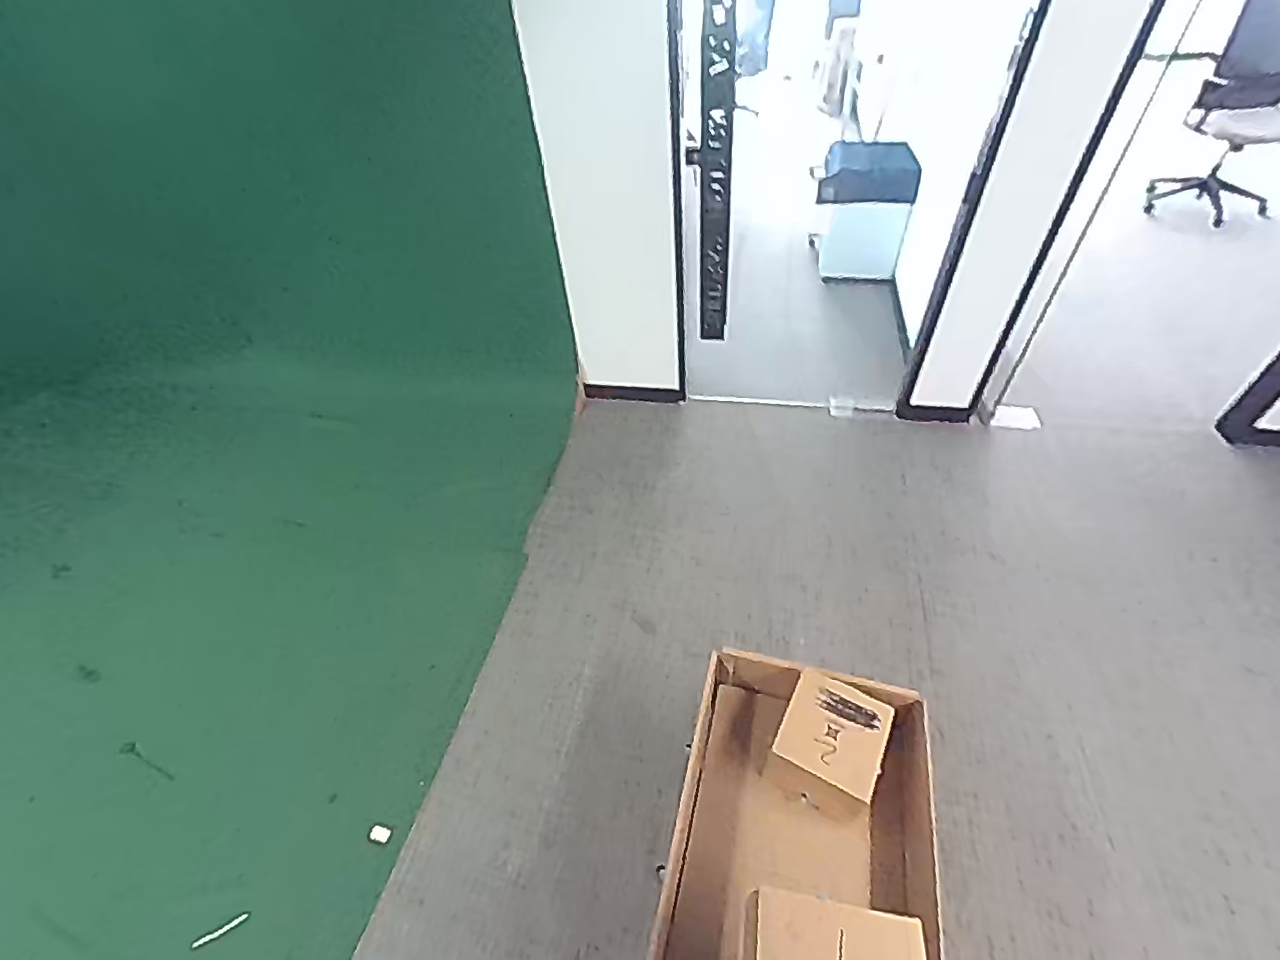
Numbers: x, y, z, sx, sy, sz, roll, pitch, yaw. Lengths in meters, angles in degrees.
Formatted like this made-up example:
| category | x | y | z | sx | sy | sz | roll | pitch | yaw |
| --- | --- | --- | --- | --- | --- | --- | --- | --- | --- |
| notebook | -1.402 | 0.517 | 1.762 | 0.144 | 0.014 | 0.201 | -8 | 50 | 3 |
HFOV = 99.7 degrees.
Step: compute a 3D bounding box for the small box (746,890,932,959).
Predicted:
| category | x | y | z | sx | sy | sz | roll | pitch | yaw |
| --- | --- | --- | --- | --- | --- | --- | --- | --- | --- |
| small box | 0.196 | 0.554 | 0.557 | 0.168 | 0.176 | 0.179 | 6 | 49 | 10 |
